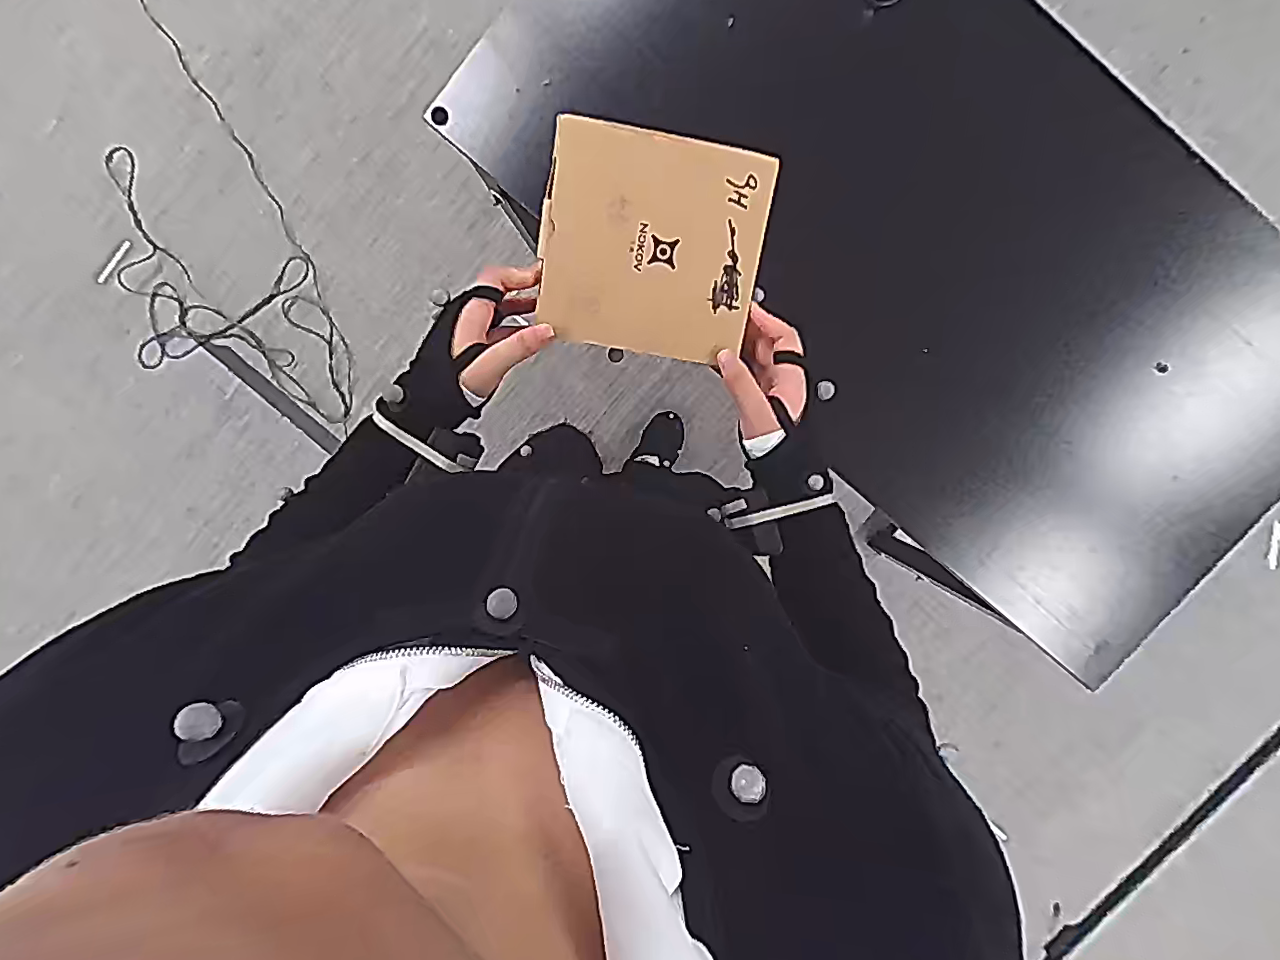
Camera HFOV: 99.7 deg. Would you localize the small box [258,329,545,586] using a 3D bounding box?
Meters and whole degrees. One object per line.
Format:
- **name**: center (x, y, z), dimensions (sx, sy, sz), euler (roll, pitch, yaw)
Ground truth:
- **small box**: center (-0.219, -0.019, 0.491), dimensions (0.179, 0.168, 0.176), euler (-24, 96, -31)
